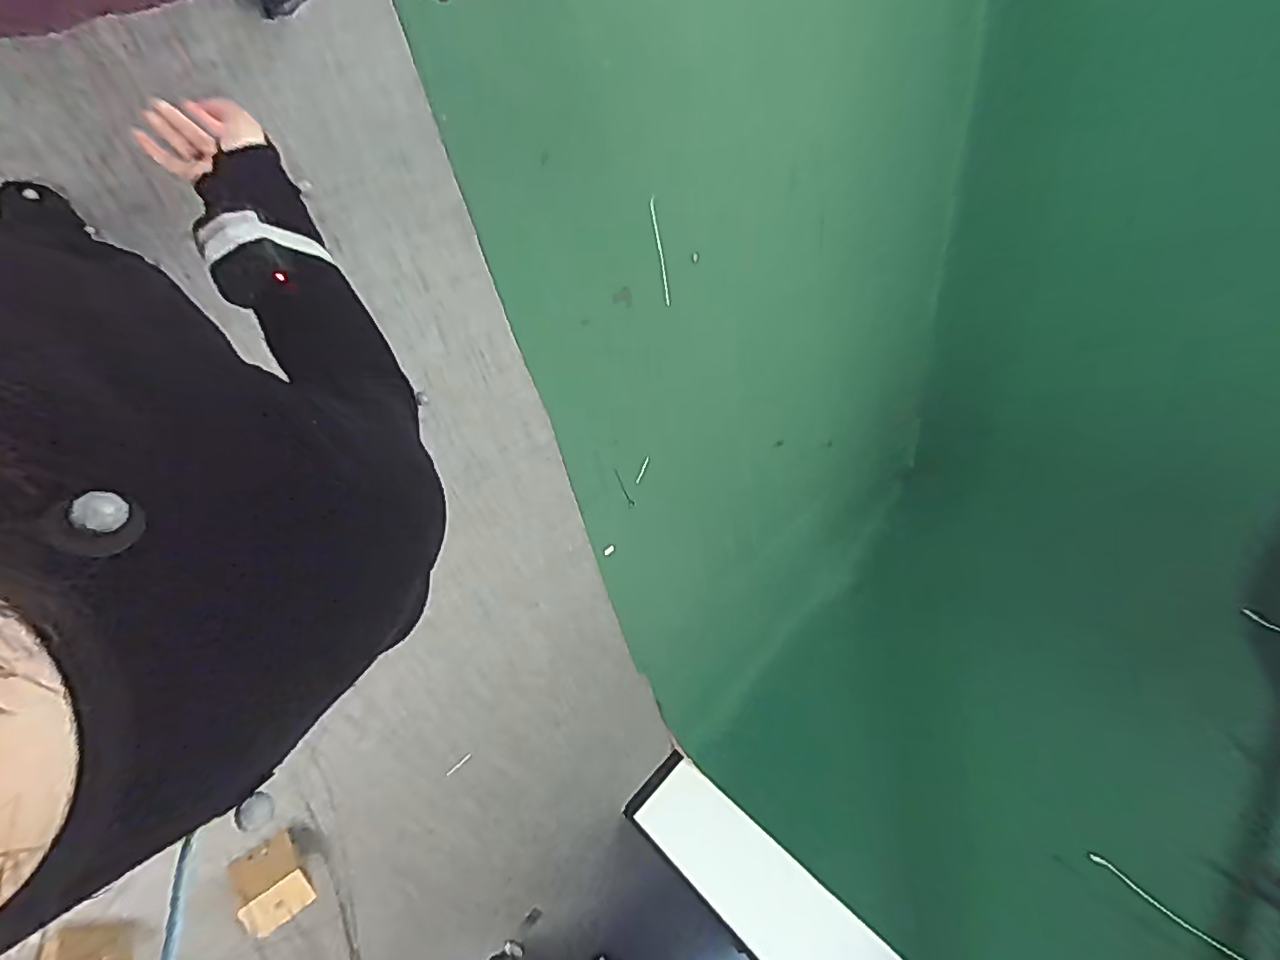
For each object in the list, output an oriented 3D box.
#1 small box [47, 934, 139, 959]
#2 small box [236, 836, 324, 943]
[{"bbox_3d":[-1.425,1.303,1.375,0.168,0.176,0.179,-52,137,-13],"label":"small box"},{"bbox_3d":[-1.112,1.256,1.671,0.168,0.176,0.179,-26,127,-35],"label":"small box"}]
